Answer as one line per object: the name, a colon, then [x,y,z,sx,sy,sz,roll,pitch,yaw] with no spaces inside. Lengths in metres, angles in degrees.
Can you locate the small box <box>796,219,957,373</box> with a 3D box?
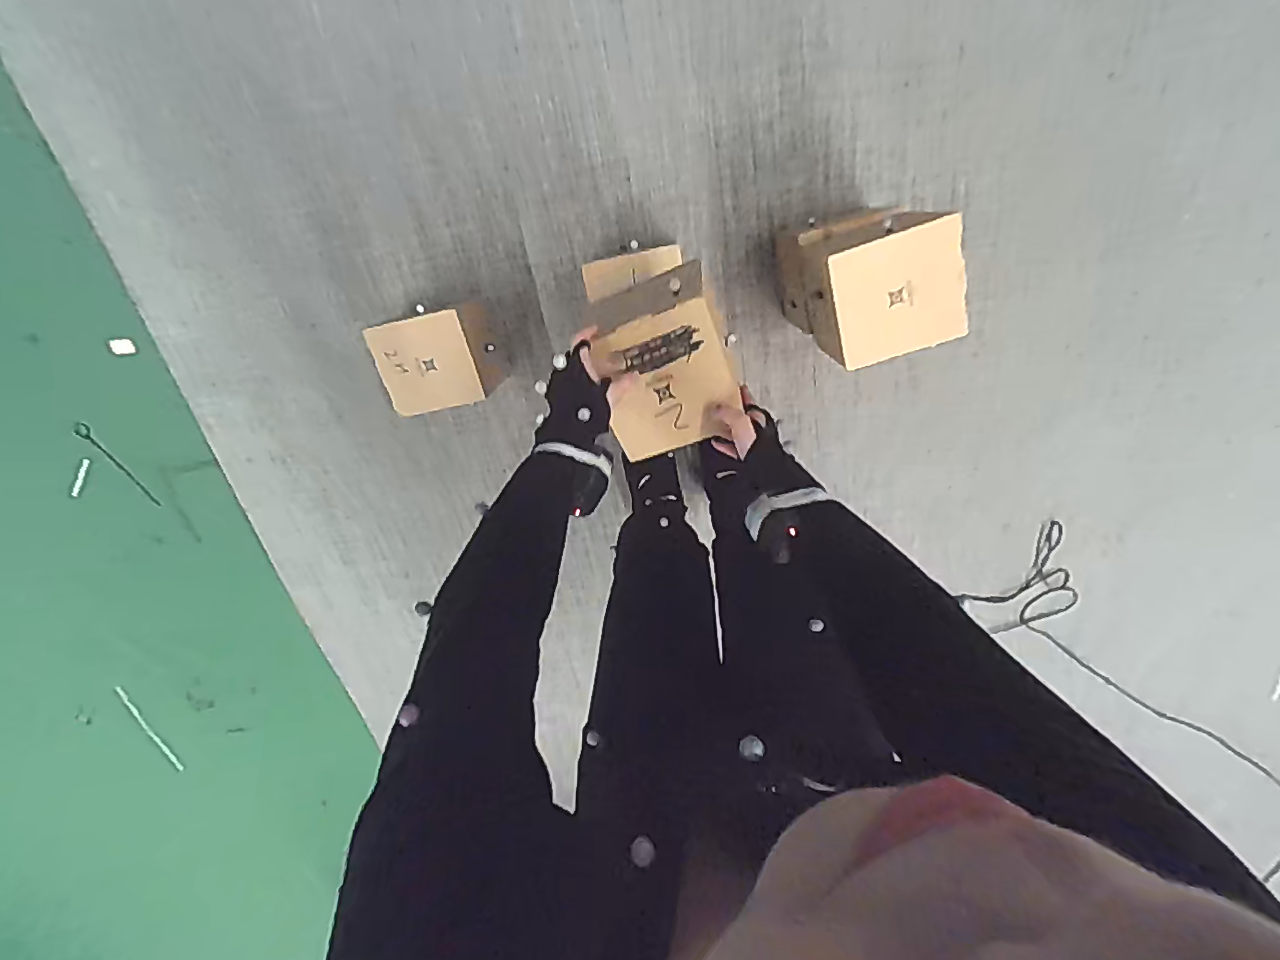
small box: [0.347,-0.281,0.823,0.179,0.176,0.168,-16,114,8]

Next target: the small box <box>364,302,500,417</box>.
small box: [-0.383,-0.238,1.040,0.179,0.176,0.168,-10,114,6]

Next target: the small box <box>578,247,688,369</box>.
small box: [-0.006,-0.320,0.992,0.168,0.176,0.179,-9,114,6]

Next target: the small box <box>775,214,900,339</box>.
small box: [0.344,-0.364,0.963,0.179,0.176,0.168,-12,115,6]
